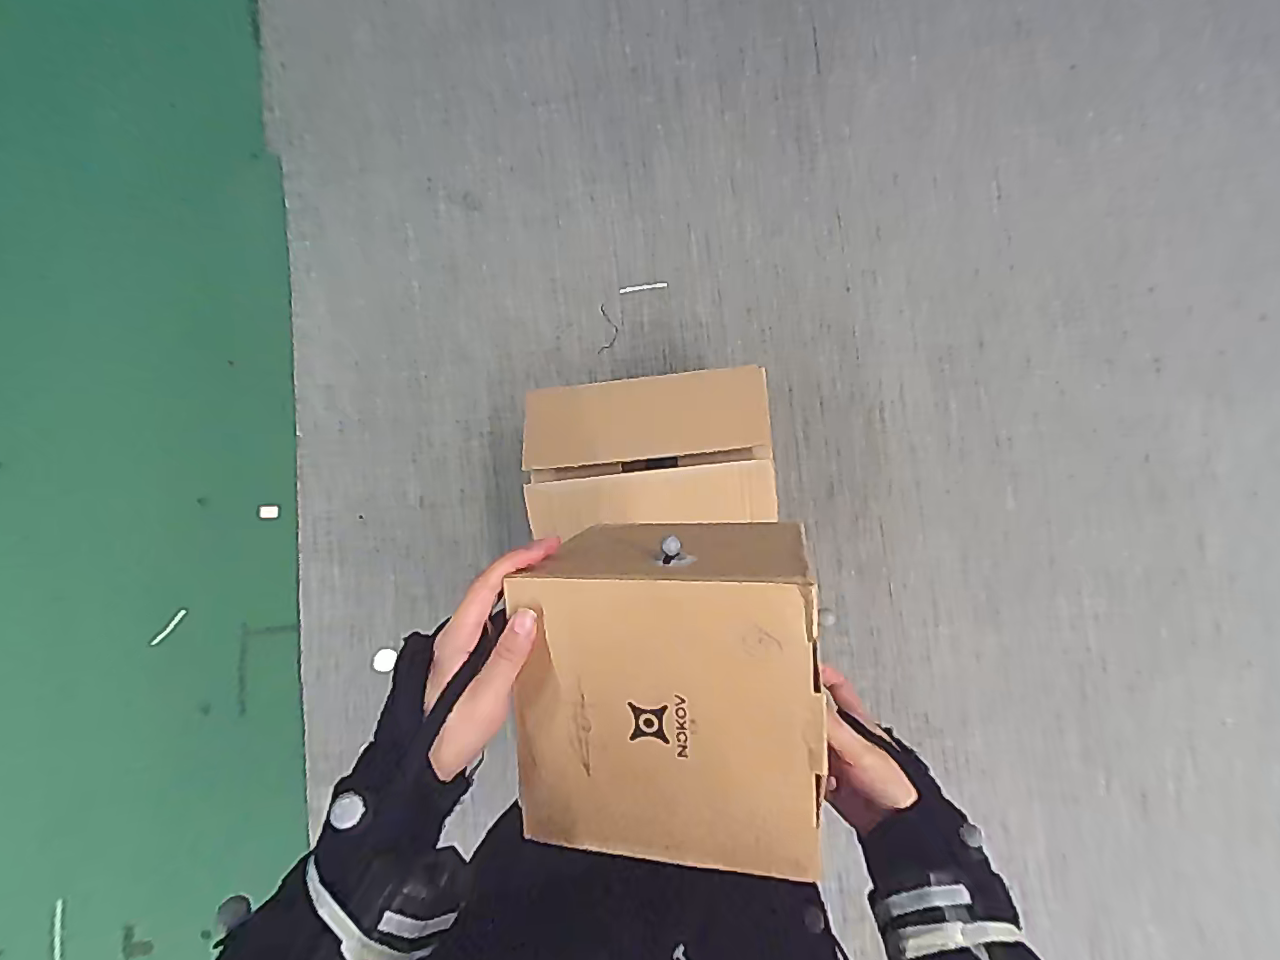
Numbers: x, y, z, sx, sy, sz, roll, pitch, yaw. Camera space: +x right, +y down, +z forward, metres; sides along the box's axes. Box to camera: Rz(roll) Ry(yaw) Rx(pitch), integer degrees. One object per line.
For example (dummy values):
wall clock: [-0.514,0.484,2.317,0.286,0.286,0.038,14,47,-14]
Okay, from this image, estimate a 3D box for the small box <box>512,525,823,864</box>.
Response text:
small box: [0.030,0.125,0.387,0.179,0.176,0.168,-2,94,15]
